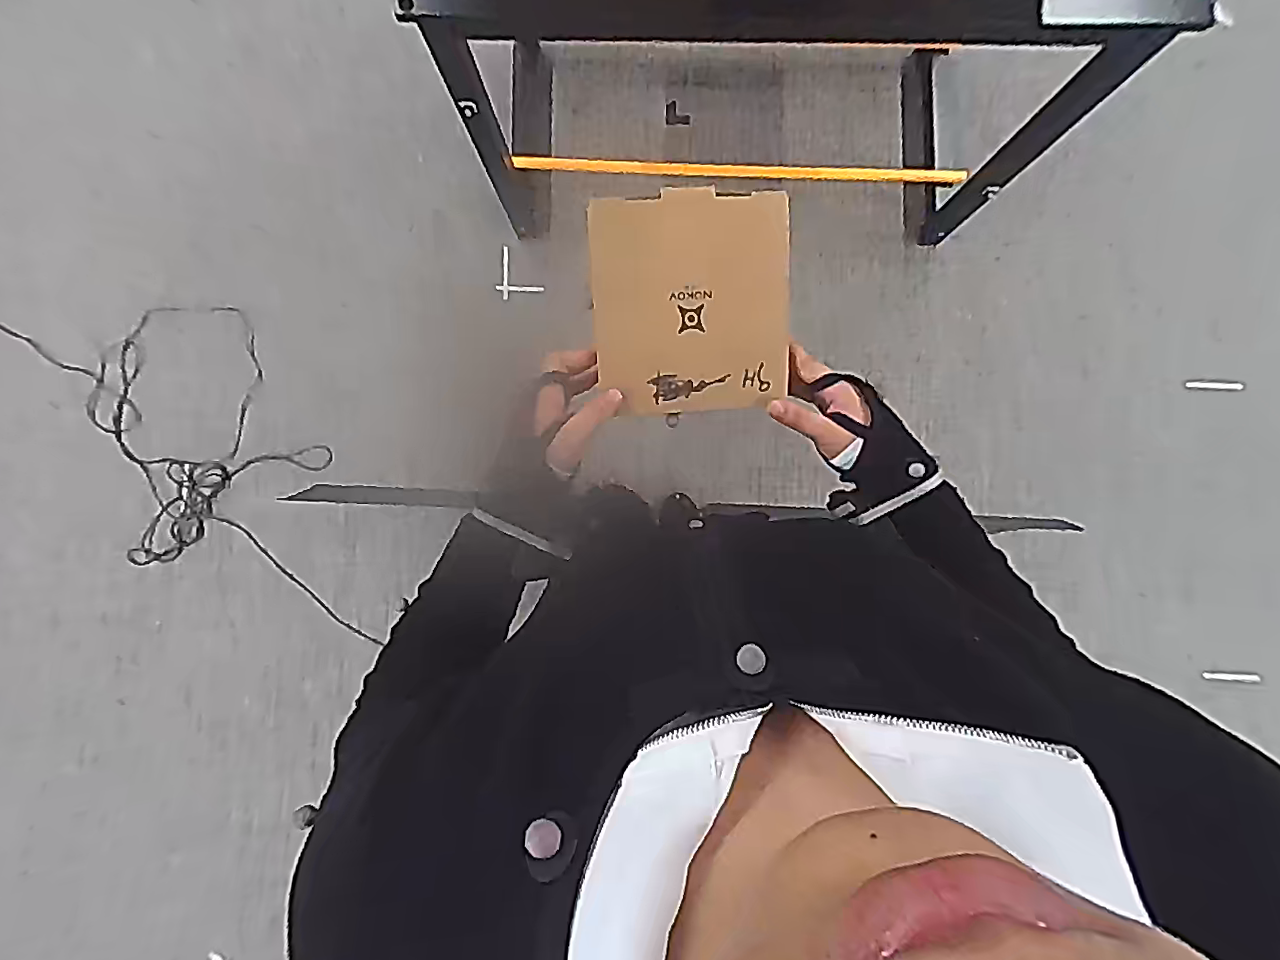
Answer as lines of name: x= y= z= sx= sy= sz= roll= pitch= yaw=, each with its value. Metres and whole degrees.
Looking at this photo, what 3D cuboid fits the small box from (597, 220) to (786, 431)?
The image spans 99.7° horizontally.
small box: x=0.042 y=-0.147 z=0.551 sx=0.168 sy=0.176 sz=0.179 roll=-4 pitch=101 yaw=-3
